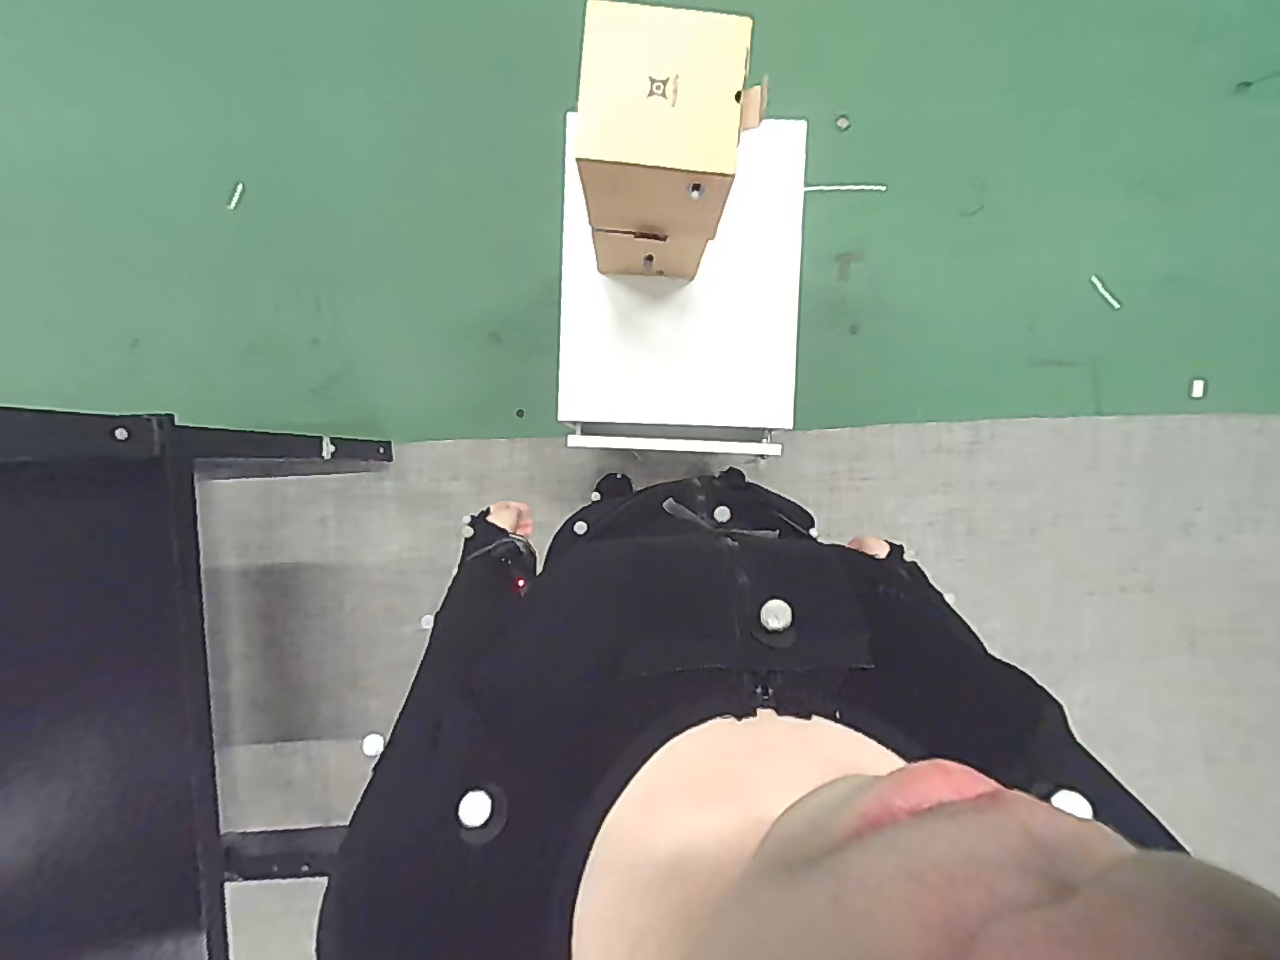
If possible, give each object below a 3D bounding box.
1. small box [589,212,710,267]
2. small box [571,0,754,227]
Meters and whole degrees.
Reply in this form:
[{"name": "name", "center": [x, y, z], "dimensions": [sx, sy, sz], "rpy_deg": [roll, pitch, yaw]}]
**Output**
[{"name": "small box", "center": [0.018, -0.426, 0.793], "dimensions": [0.168, 0.176, 0.179], "rpy_deg": [2, 93, -1]}, {"name": "small box", "center": [0.022, -0.415, 0.631], "dimensions": [0.179, 0.176, 0.168], "rpy_deg": [5, 93, -1]}]
